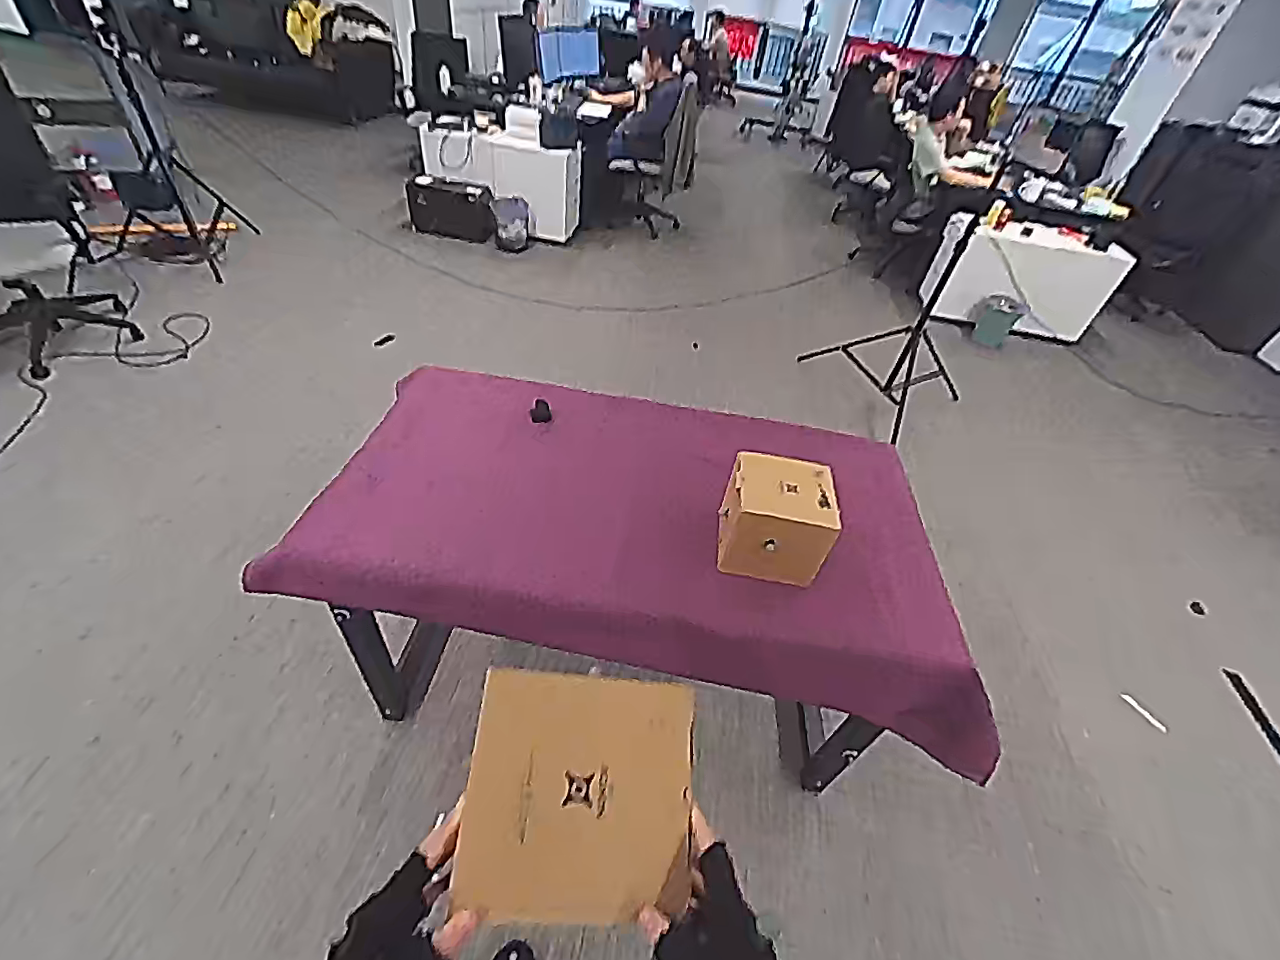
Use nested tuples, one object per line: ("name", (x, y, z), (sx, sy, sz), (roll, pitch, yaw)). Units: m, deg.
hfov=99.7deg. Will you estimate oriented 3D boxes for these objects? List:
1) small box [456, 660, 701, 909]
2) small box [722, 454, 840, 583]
("small box", (-0.053, 0.267, 0.488), (0.179, 0.176, 0.168), (6, 60, -8))
("small box", (0.253, 0.075, 1.018), (0.179, 0.176, 0.168), (9, 42, 2))
